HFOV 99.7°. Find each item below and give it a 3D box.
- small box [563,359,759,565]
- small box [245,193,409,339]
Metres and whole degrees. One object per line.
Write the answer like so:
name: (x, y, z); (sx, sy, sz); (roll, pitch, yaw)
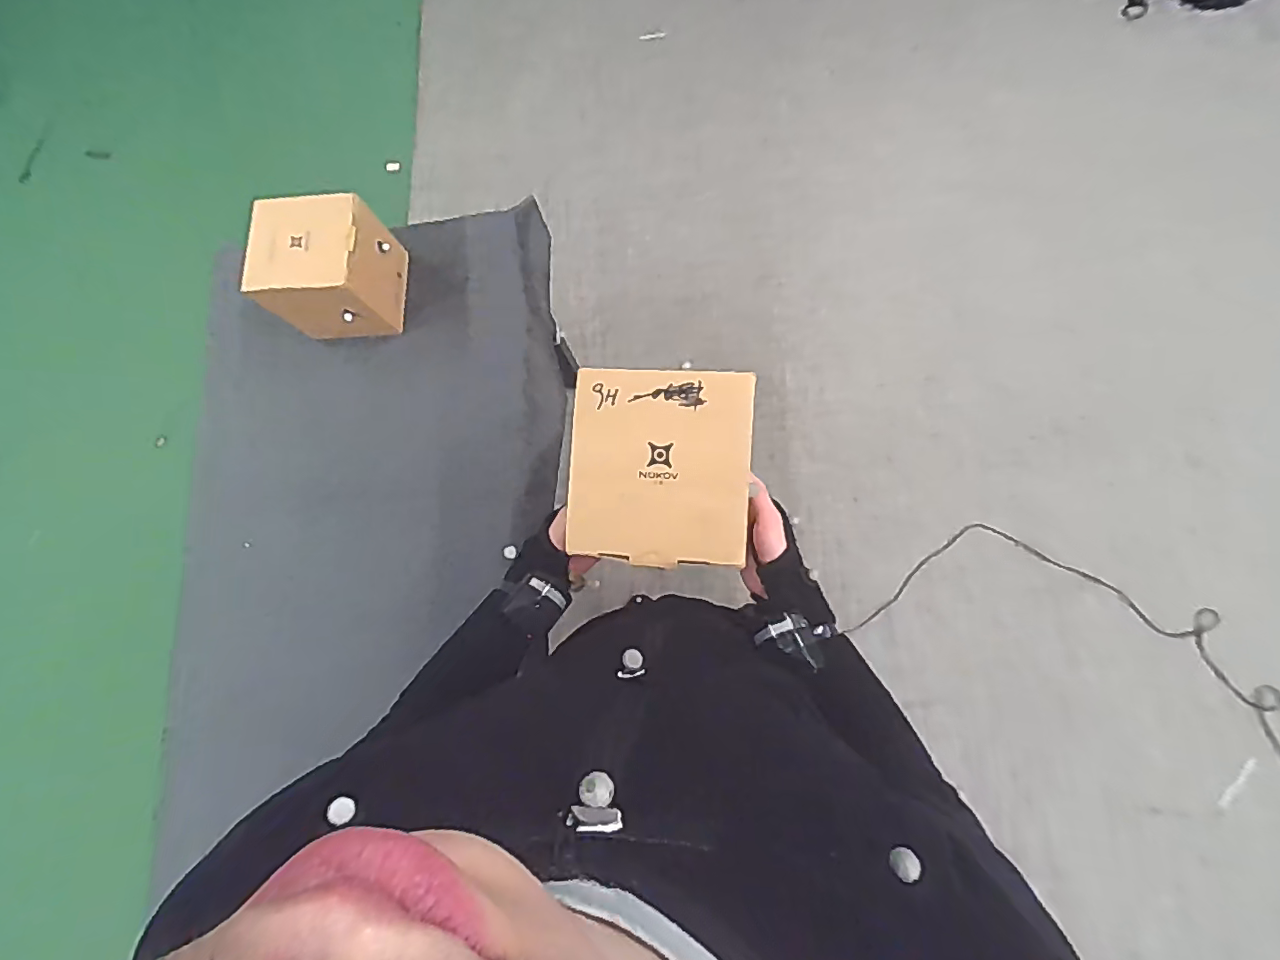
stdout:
small box: (0.028, -0.015, 0.558); (0.168, 0.176, 0.179); (4, 88, 8)
small box: (-0.521, -0.357, 0.927); (0.179, 0.176, 0.168); (-2, 77, 7)
